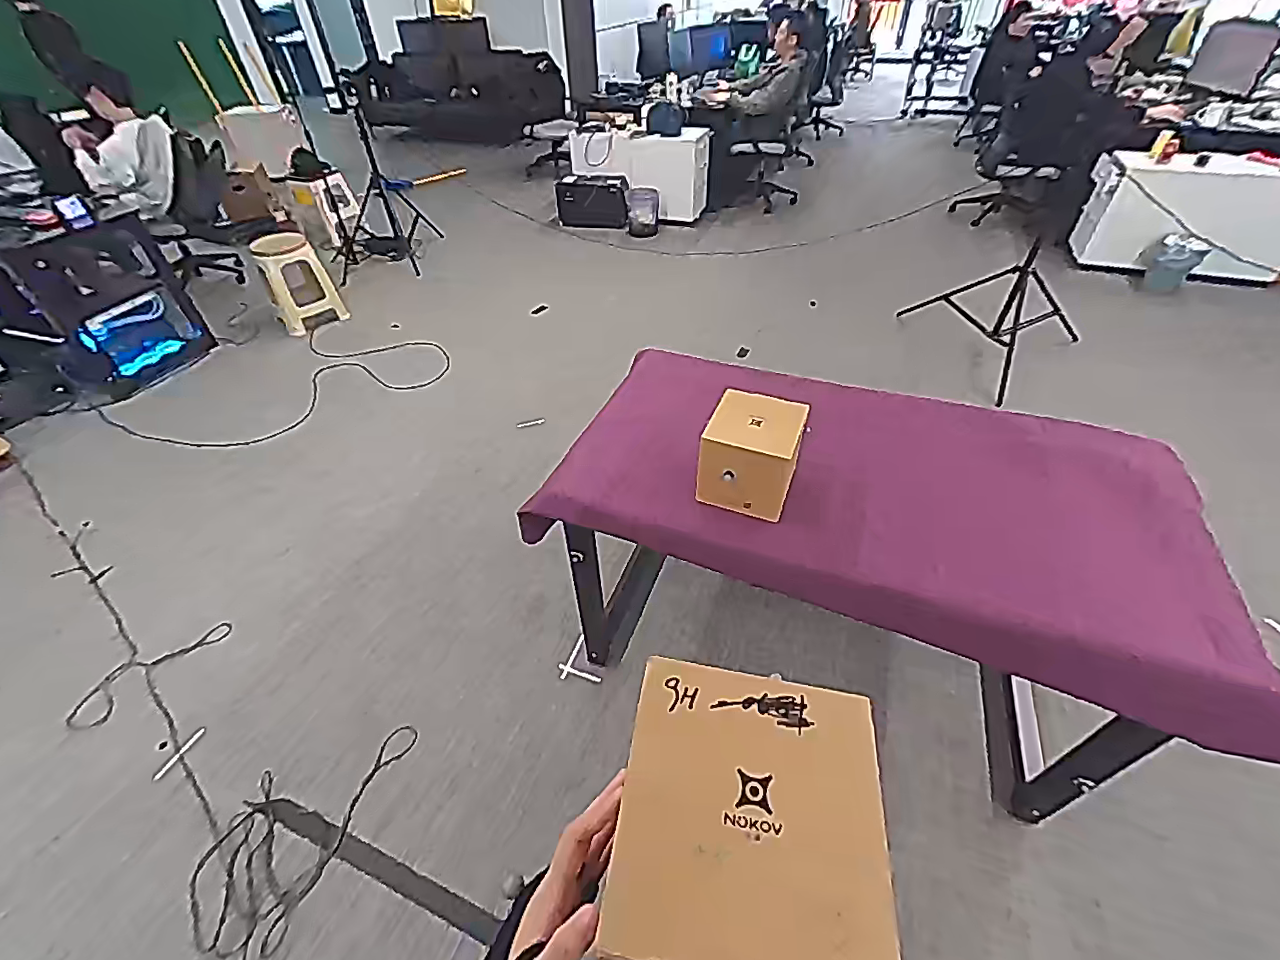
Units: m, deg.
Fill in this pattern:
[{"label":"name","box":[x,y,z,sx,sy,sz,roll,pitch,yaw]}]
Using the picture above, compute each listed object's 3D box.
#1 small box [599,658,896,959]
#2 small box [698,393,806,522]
[{"label":"small box","box":[0.071,0.265,0.405,0.168,0.176,0.179,9,47,5]},{"label":"small box","box":[0.217,-0.043,1.069,0.168,0.176,0.179,15,45,17]}]
